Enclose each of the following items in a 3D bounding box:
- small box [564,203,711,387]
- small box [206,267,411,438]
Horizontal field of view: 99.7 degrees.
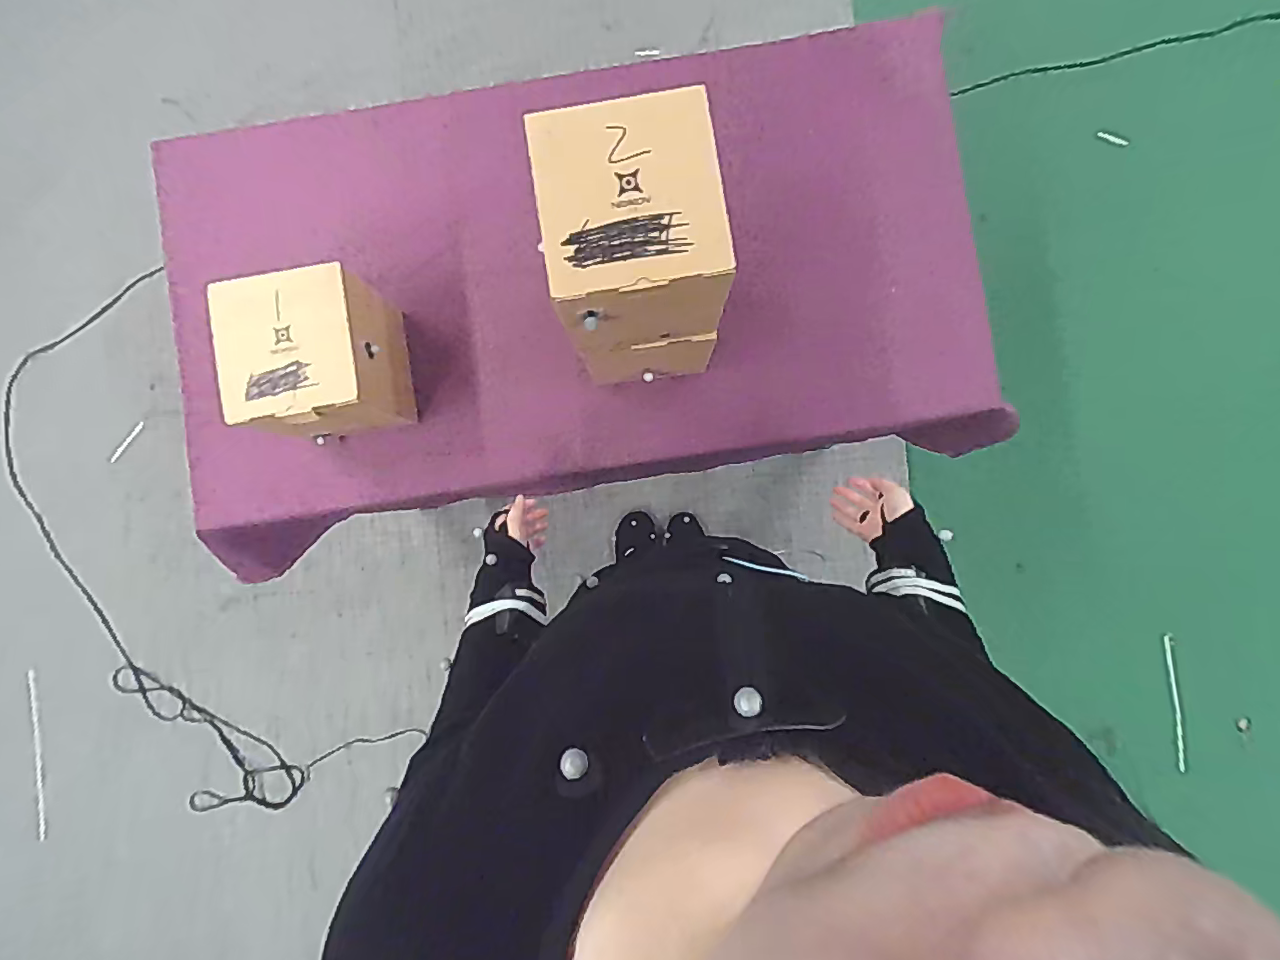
[{"bbox_3d":[-0.003,-0.235,0.724,0.168,0.176,0.179,-6,87,1],"label":"small box"},{"bbox_3d":[-0.430,-0.157,0.728,0.168,0.176,0.179,-10,86,0],"label":"small box"}]
